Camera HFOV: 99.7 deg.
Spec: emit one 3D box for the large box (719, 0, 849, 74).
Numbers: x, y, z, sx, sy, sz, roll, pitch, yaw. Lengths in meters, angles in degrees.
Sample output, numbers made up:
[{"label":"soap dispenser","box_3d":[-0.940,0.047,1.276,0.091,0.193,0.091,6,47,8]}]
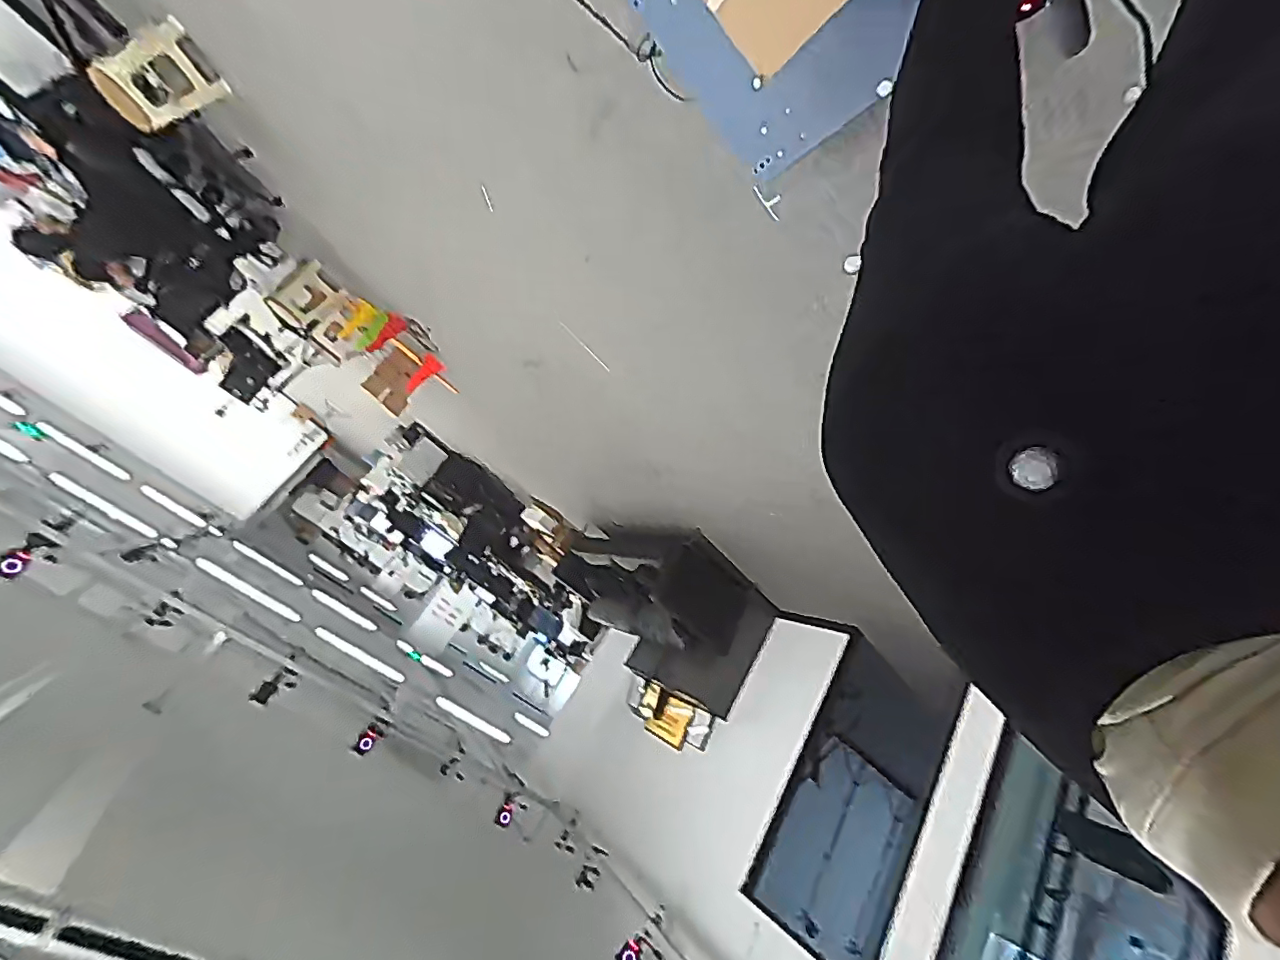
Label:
[{"label":"large box","box_3d":[0.314,-0.971,0.826,0.320,0.320,0.408,43,157,-21]}]
